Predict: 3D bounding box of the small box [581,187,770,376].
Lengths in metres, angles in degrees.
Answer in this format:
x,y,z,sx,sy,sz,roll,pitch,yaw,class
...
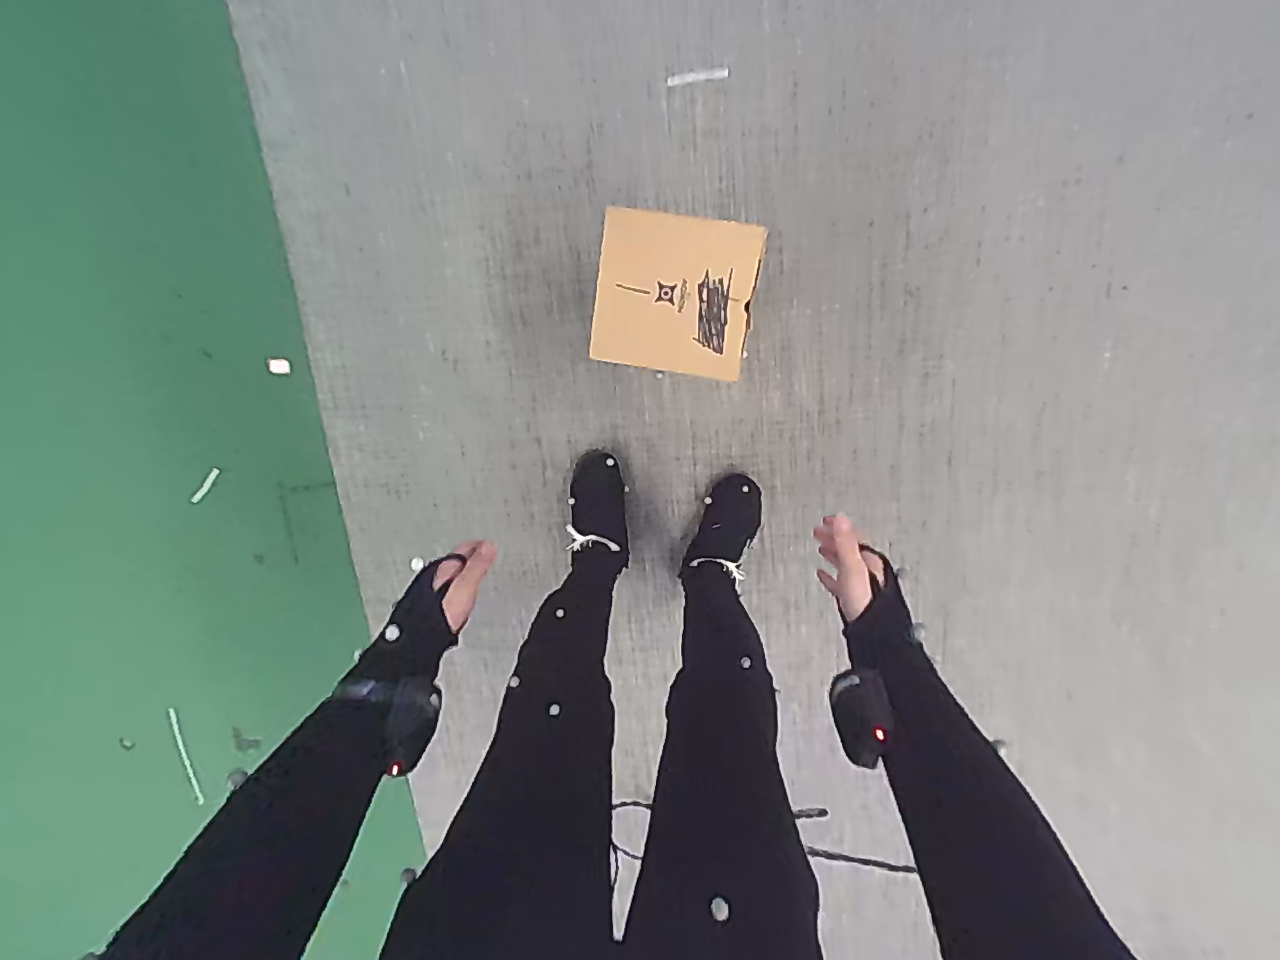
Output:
x,y,z,sx,sy,sz,roll,pitch,yaw,class
0.044,-0.228,0.648,0.179,0.176,0.168,13,105,5,small box
